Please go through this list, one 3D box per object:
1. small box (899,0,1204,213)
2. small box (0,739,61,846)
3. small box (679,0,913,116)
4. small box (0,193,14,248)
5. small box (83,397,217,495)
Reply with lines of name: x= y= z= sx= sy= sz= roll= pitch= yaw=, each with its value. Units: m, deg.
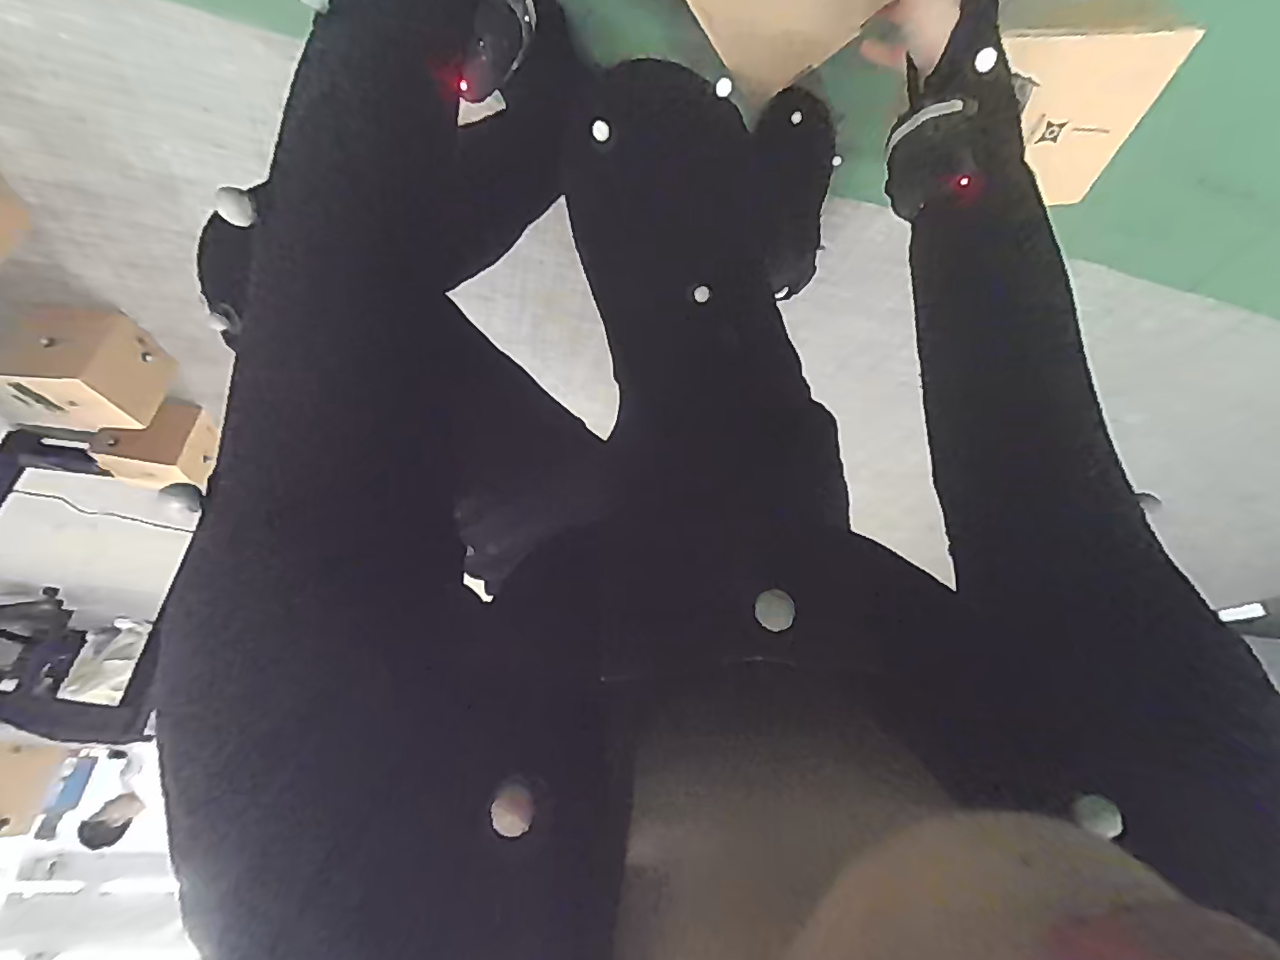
small box: x=0.401 y=-0.411 z=0.572 sx=0.179 sy=0.176 sz=0.168 roll=0 pitch=152 yaw=2
small box: x=-1.234 y=0.562 z=0.974 sx=0.179 sy=0.176 sz=0.168 roll=2 pitch=152 yaw=-1
small box: x=0.121 y=-0.479 z=0.463 sx=0.168 sy=0.176 sz=0.179 roll=-21 pitch=144 yaw=36
small box: x=-1.023 y=-0.383 z=0.725 sx=0.179 sy=0.176 sz=0.168 roll=6 pitch=152 yaw=-7
small box: x=-1.172 y=-0.083 z=1.317 sx=0.179 sy=0.176 sz=0.168 roll=11 pitch=151 yaw=-15
